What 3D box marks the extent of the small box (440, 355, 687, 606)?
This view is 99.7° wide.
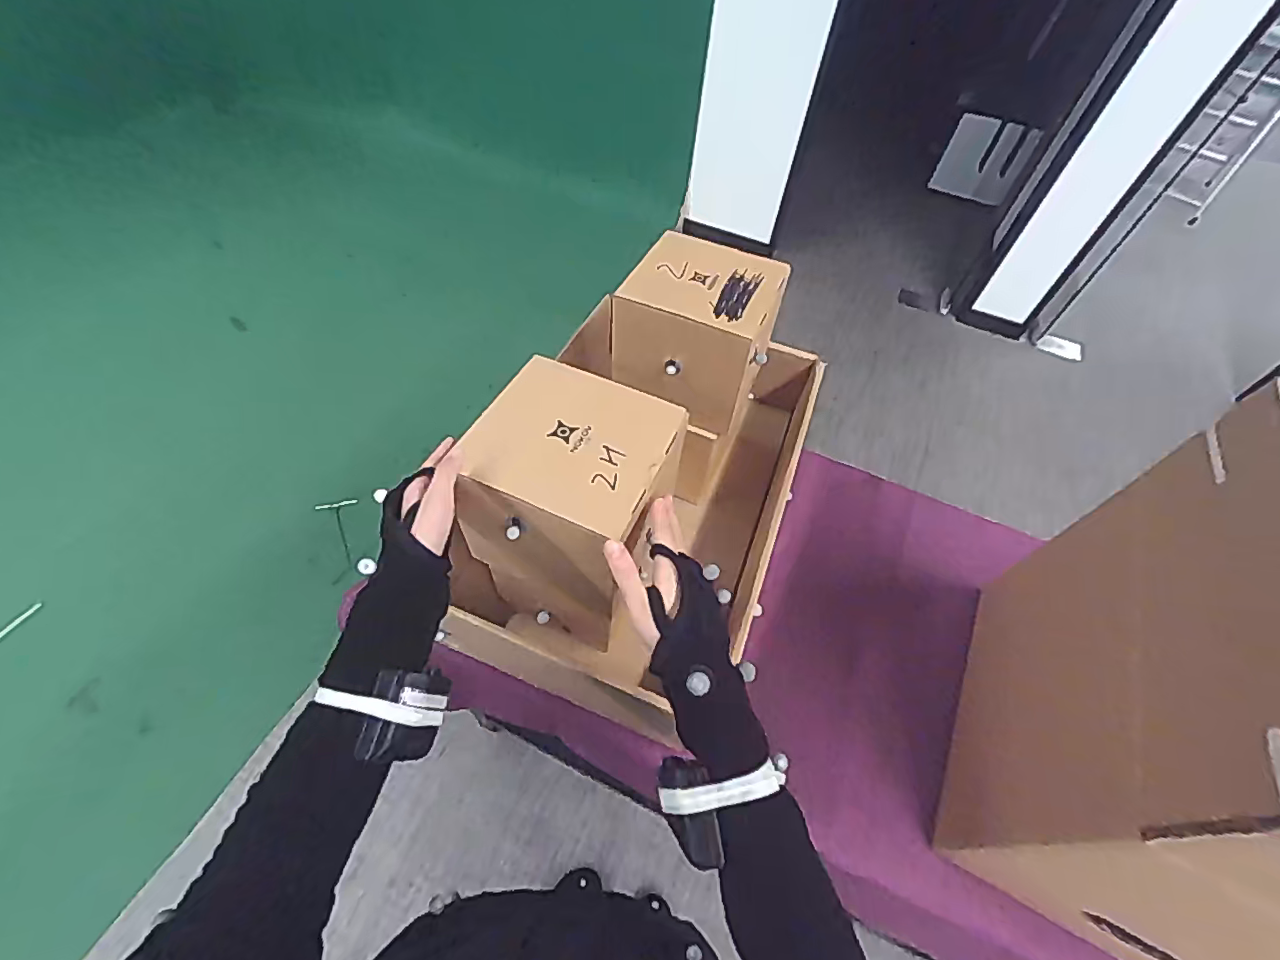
[{"bbox_3d":[-0.071,0.006,0.563,0.179,0.176,0.168,23,56,11],"label":"small box"}]

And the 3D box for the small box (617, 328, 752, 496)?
[{"bbox_3d":[0.060,-0.103,0.857,0.168,0.176,0.179,23,56,12],"label":"small box"}]
